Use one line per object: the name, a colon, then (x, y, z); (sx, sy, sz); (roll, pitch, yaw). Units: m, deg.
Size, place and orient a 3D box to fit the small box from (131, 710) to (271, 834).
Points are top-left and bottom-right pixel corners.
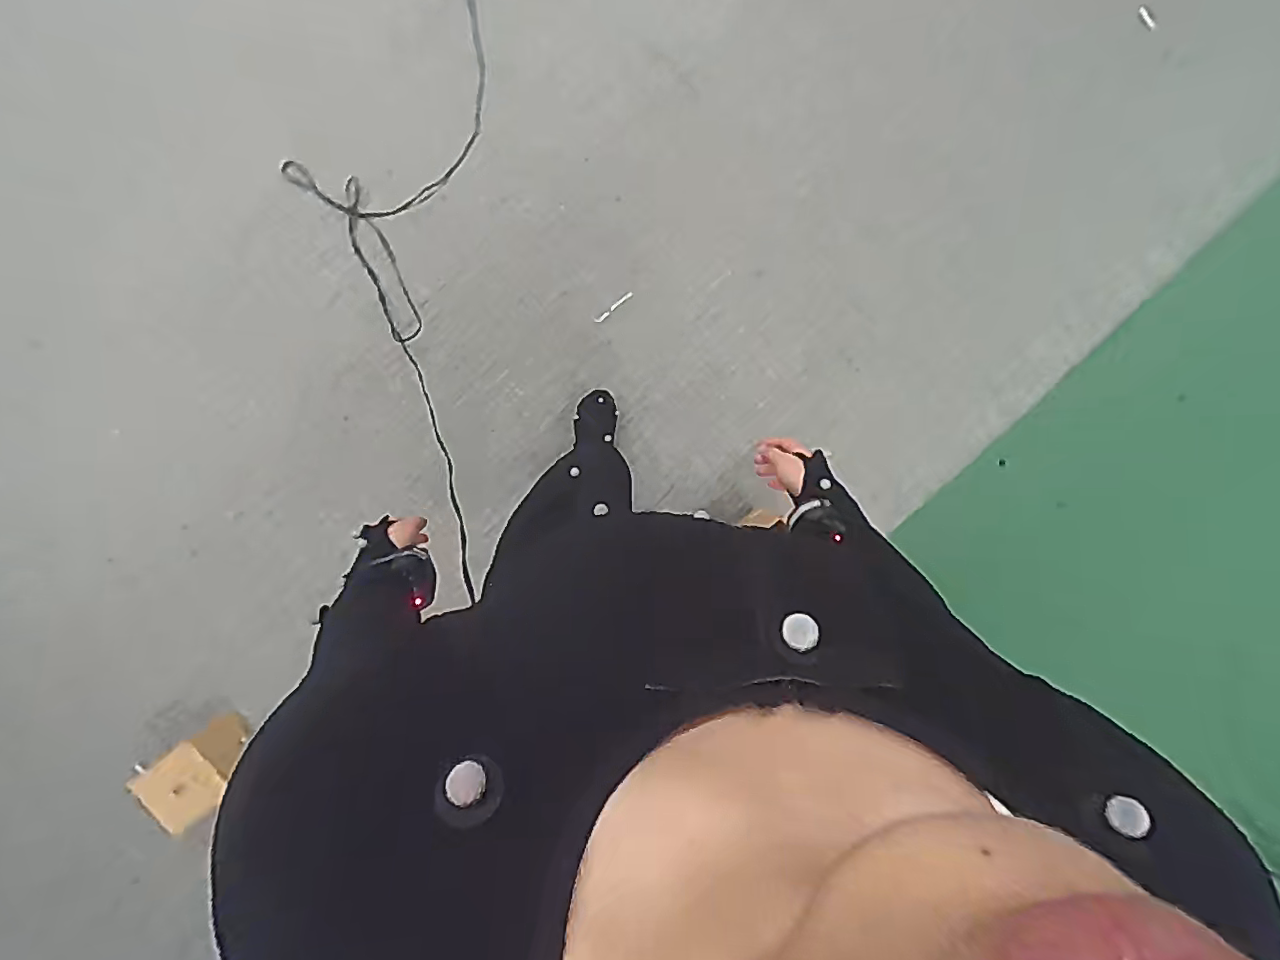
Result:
small box: (-1.085, 0.720, 1.354); (0.179, 0.176, 0.168); (-36, 95, -2)
